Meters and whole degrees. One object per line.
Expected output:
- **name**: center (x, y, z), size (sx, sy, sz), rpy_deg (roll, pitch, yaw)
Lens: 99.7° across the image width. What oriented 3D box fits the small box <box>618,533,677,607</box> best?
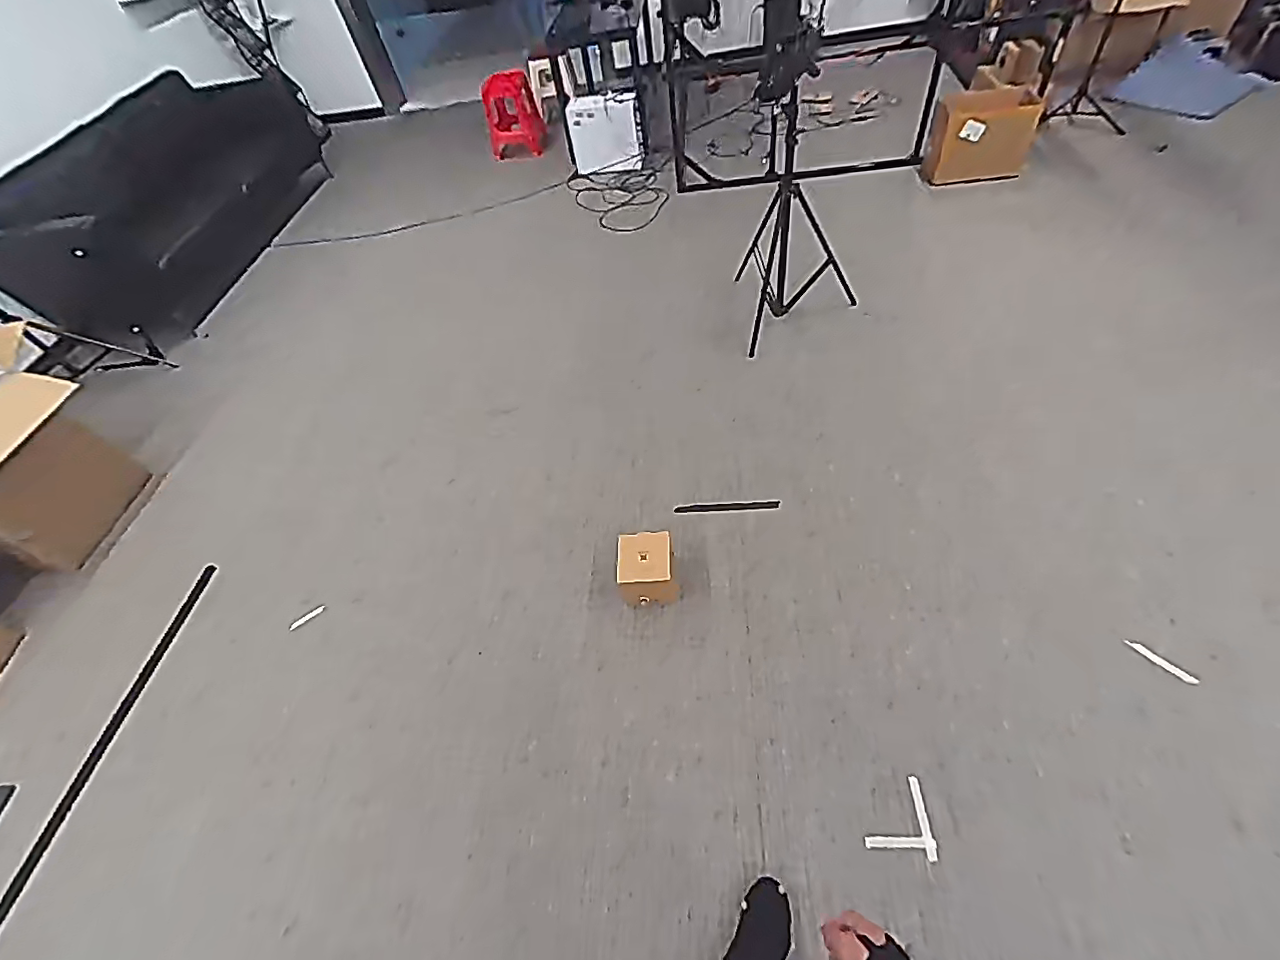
- **small box**: center (0.029, 0.291, 1.736), size (0.168, 0.176, 0.179), rpy_deg (-5, 52, 8)
